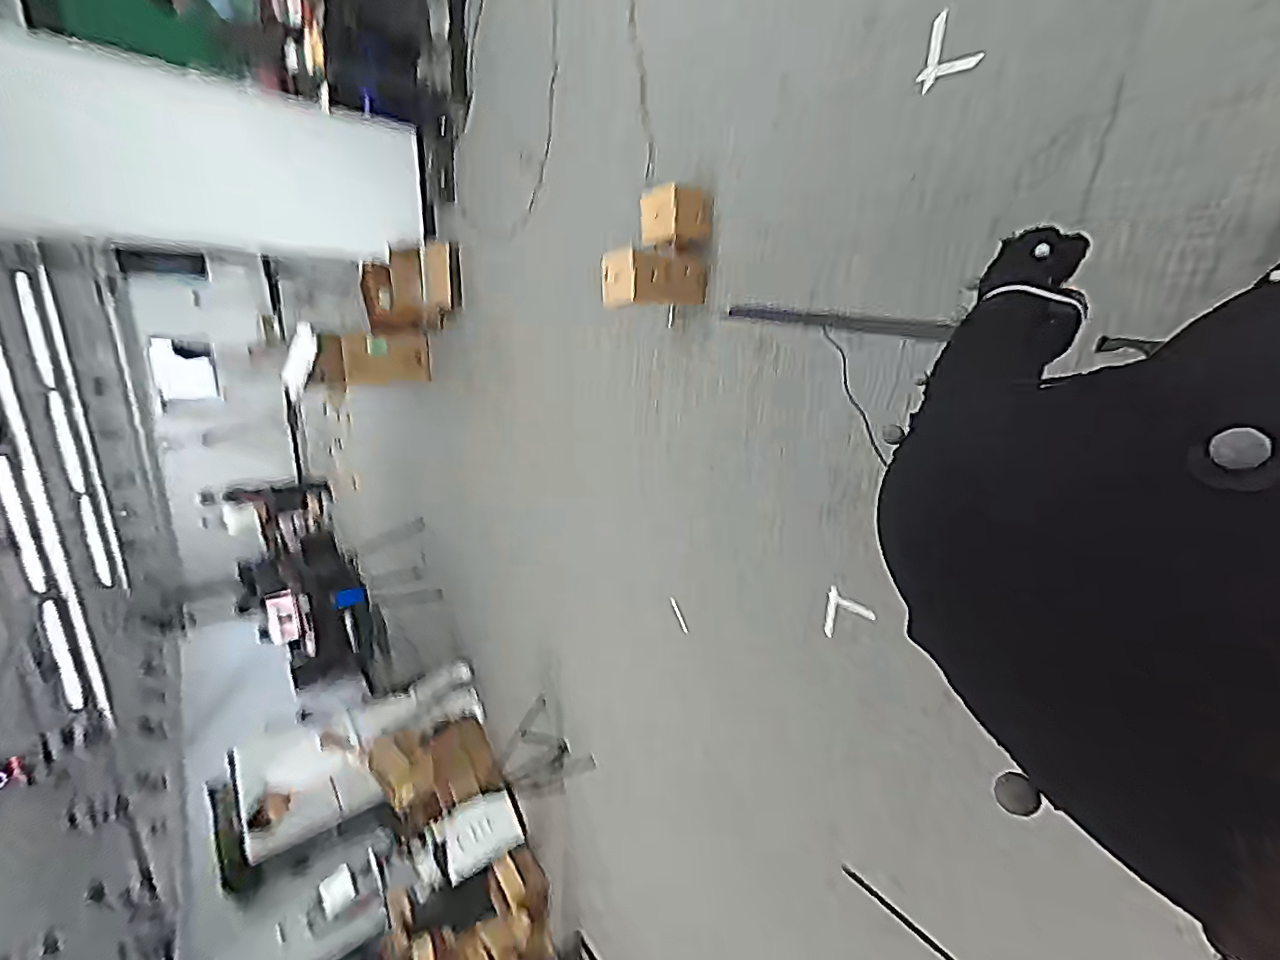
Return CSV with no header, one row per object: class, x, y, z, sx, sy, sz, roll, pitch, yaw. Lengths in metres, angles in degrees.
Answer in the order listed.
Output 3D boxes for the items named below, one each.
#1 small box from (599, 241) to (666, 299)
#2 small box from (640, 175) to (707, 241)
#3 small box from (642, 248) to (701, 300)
small box,-0.023,-0.730,1.891,0.179,0.176,0.168,13,108,48
small box,0.117,-0.960,1.922,0.179,0.176,0.168,13,110,48
small box,0.106,-0.753,1.989,0.179,0.176,0.168,19,114,48
